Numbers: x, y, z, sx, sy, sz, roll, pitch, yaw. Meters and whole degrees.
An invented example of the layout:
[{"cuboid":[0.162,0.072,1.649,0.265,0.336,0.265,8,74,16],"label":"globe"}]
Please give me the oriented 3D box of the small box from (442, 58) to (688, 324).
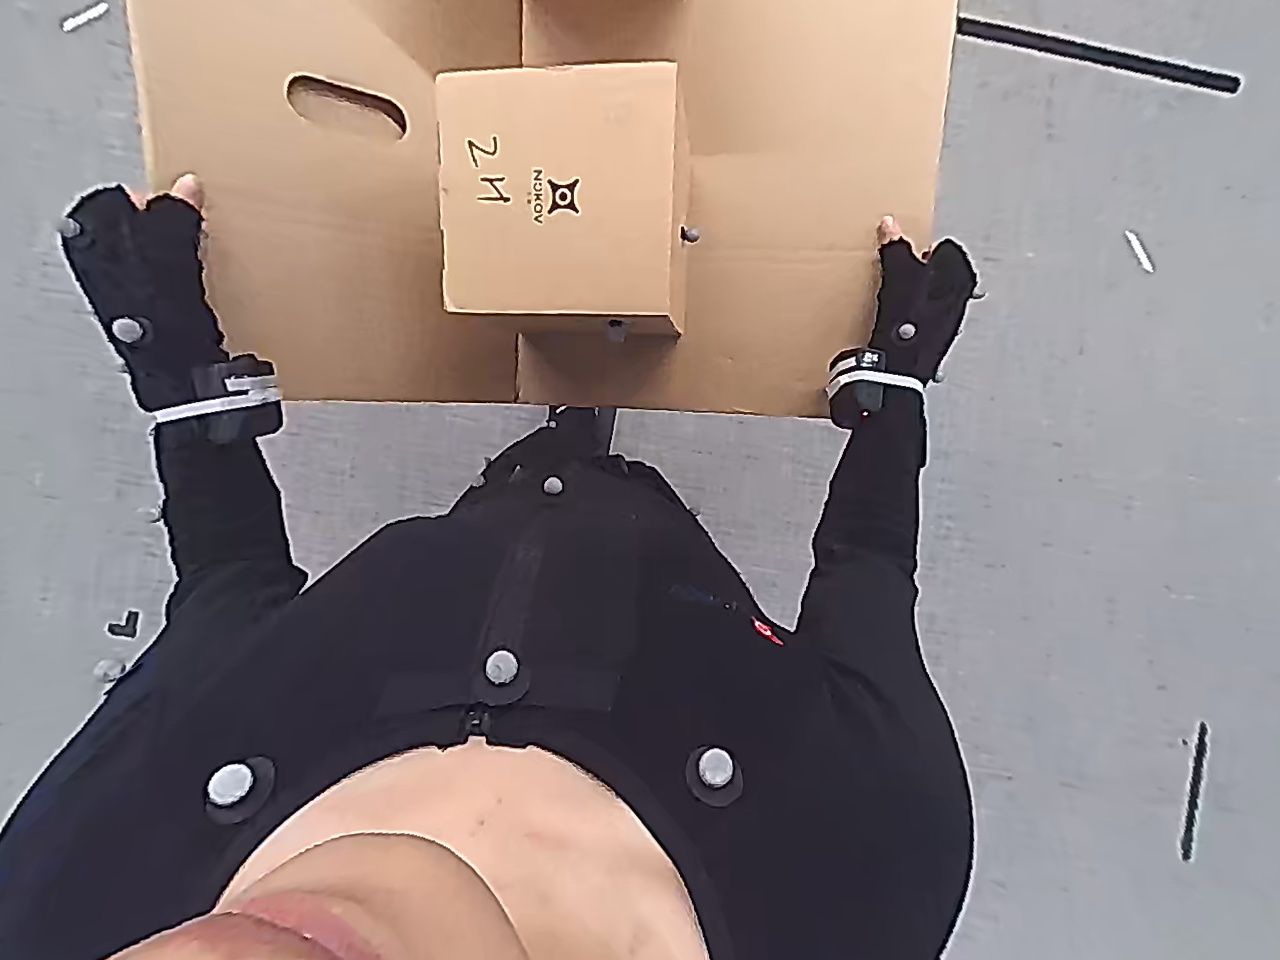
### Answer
[{"cuboid":[-0.051,-0.232,0.476,0.179,0.176,0.168,4,100,8],"label":"small box"}]
